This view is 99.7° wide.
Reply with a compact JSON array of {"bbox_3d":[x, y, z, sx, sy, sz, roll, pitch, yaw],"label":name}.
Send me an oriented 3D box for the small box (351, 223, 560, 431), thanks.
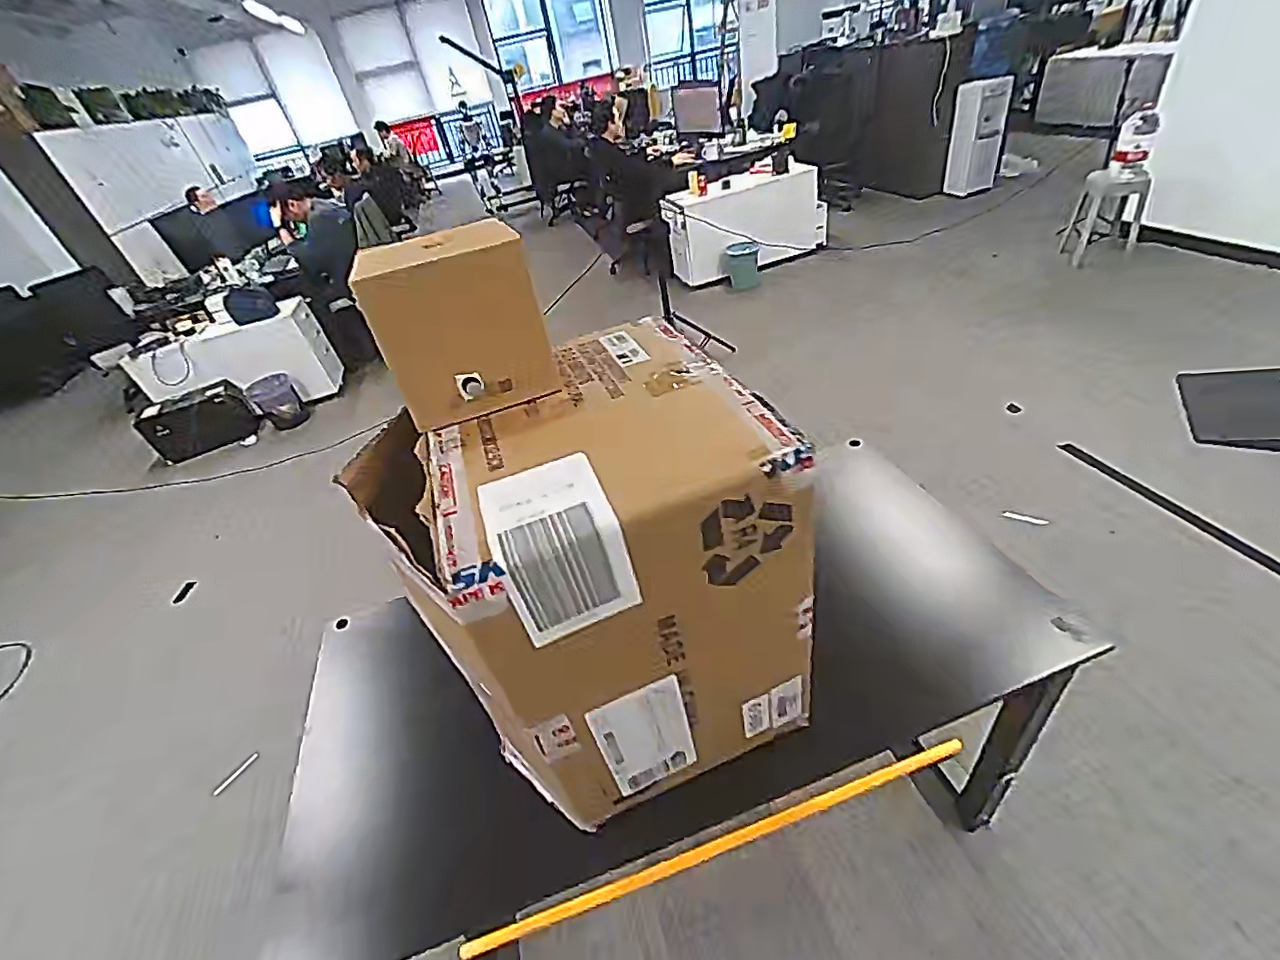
[{"bbox_3d":[-0.206,-0.180,0.625,0.168,0.176,0.179,-21,37,-12],"label":"small box"}]
